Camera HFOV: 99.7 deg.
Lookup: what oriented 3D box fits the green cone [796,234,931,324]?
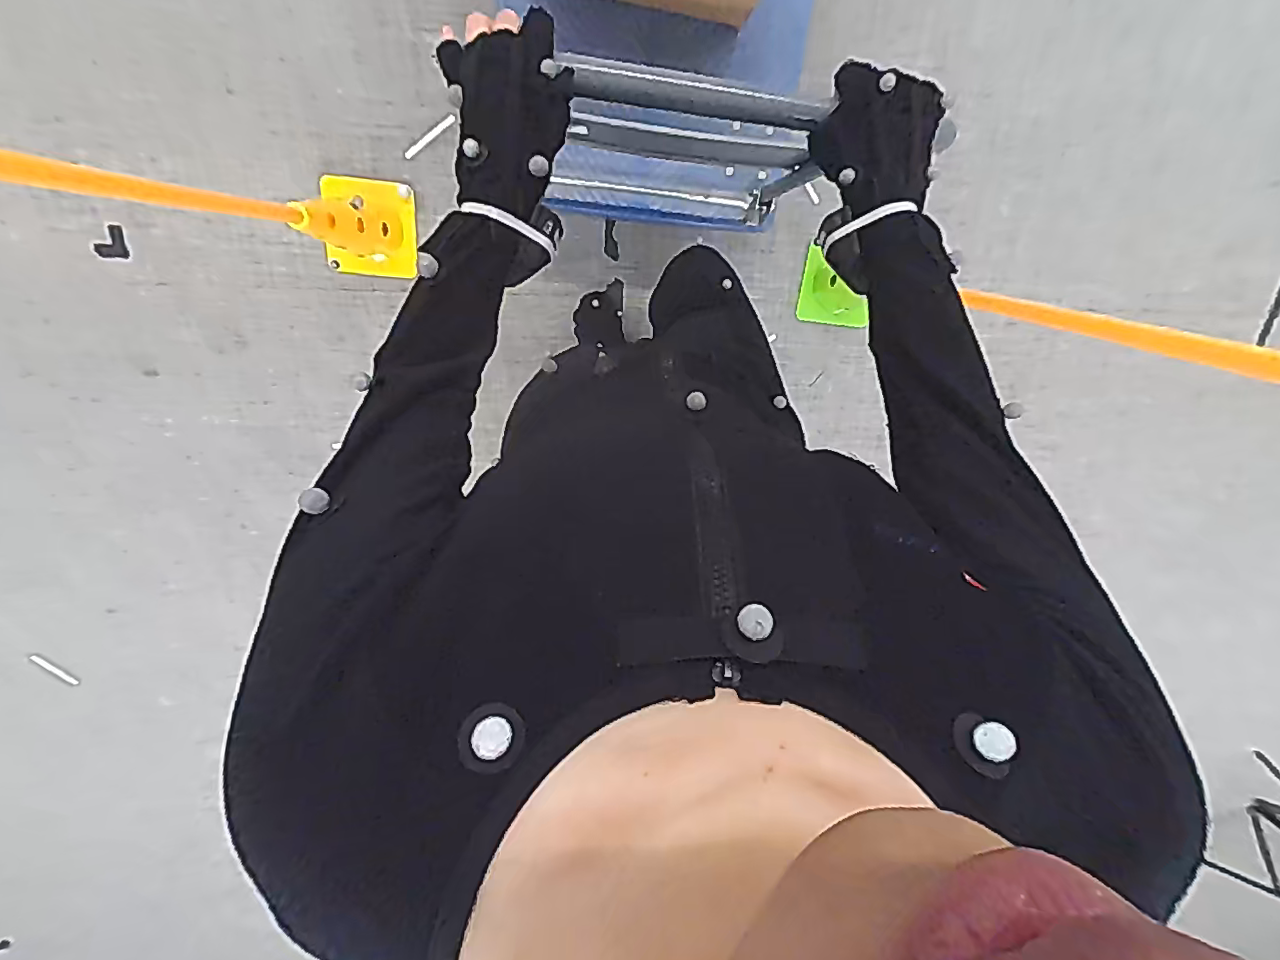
[{"bbox_3d":[0.524,-0.444,1.215,0.202,0.368,0.200,4,111,-8],"label":"green cone"}]

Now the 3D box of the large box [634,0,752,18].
[{"bbox_3d":[0.023,-0.963,0.806,0.408,0.320,0.320,6,111,-7],"label":"large box"}]
